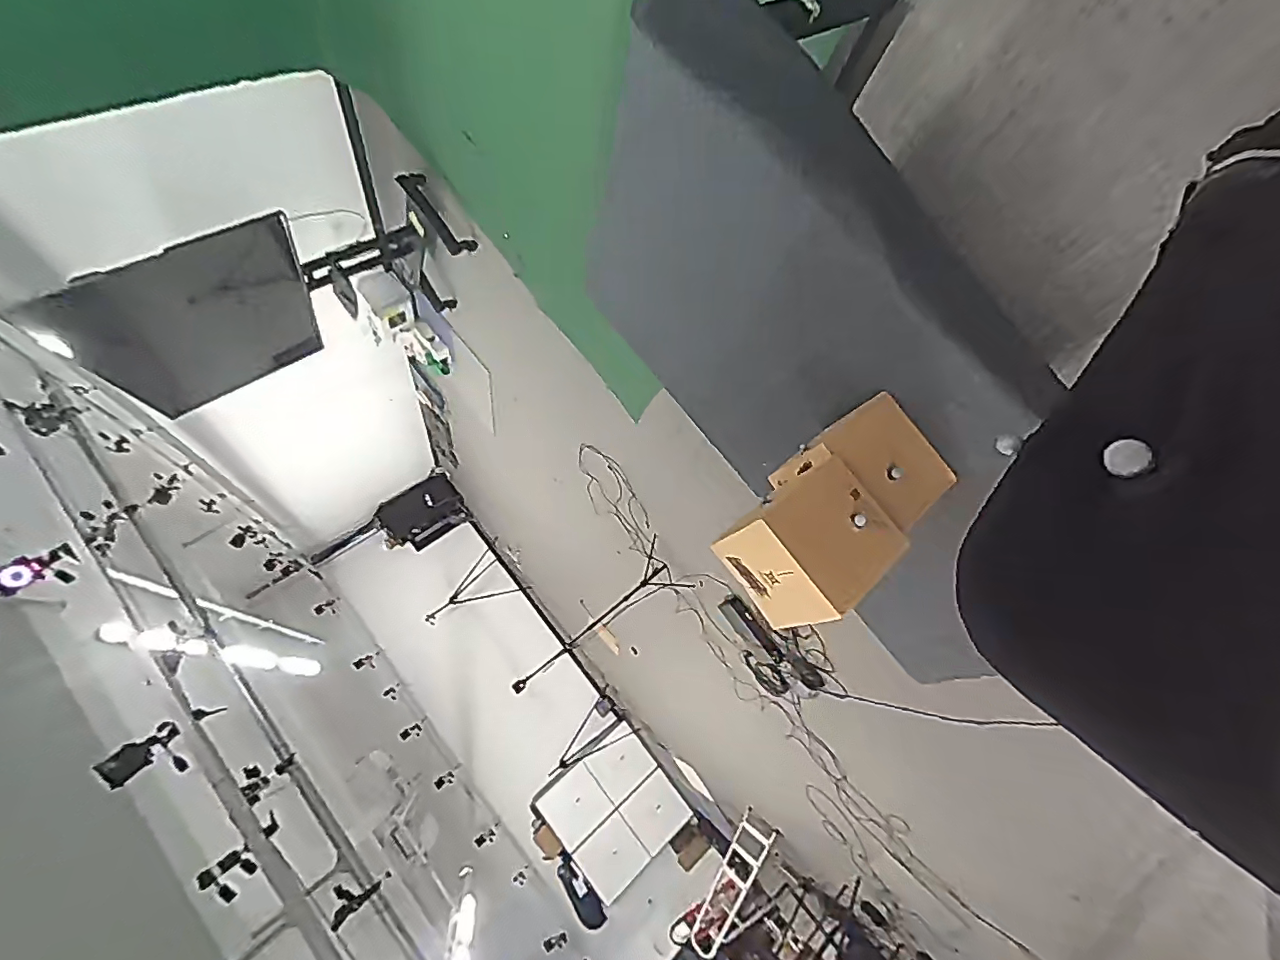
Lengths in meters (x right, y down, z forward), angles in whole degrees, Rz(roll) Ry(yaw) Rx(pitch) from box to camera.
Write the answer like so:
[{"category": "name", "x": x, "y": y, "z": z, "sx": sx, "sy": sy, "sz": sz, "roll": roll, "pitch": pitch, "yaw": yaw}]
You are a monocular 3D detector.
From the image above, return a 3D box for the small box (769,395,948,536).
[{"category": "small box", "x": 0.355, "y": -0.007, "z": 0.886, "sx": 0.179, "sy": 0.176, "sz": 0.168, "roll": 52, "pitch": 156, "yaw": 4}]

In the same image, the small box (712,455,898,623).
[{"category": "small box", "x": 0.243, "y": 0.093, "z": 0.816, "sx": 0.168, "sy": 0.176, "sz": 0.179, "roll": 51, "pitch": 158, "yaw": 9}]
